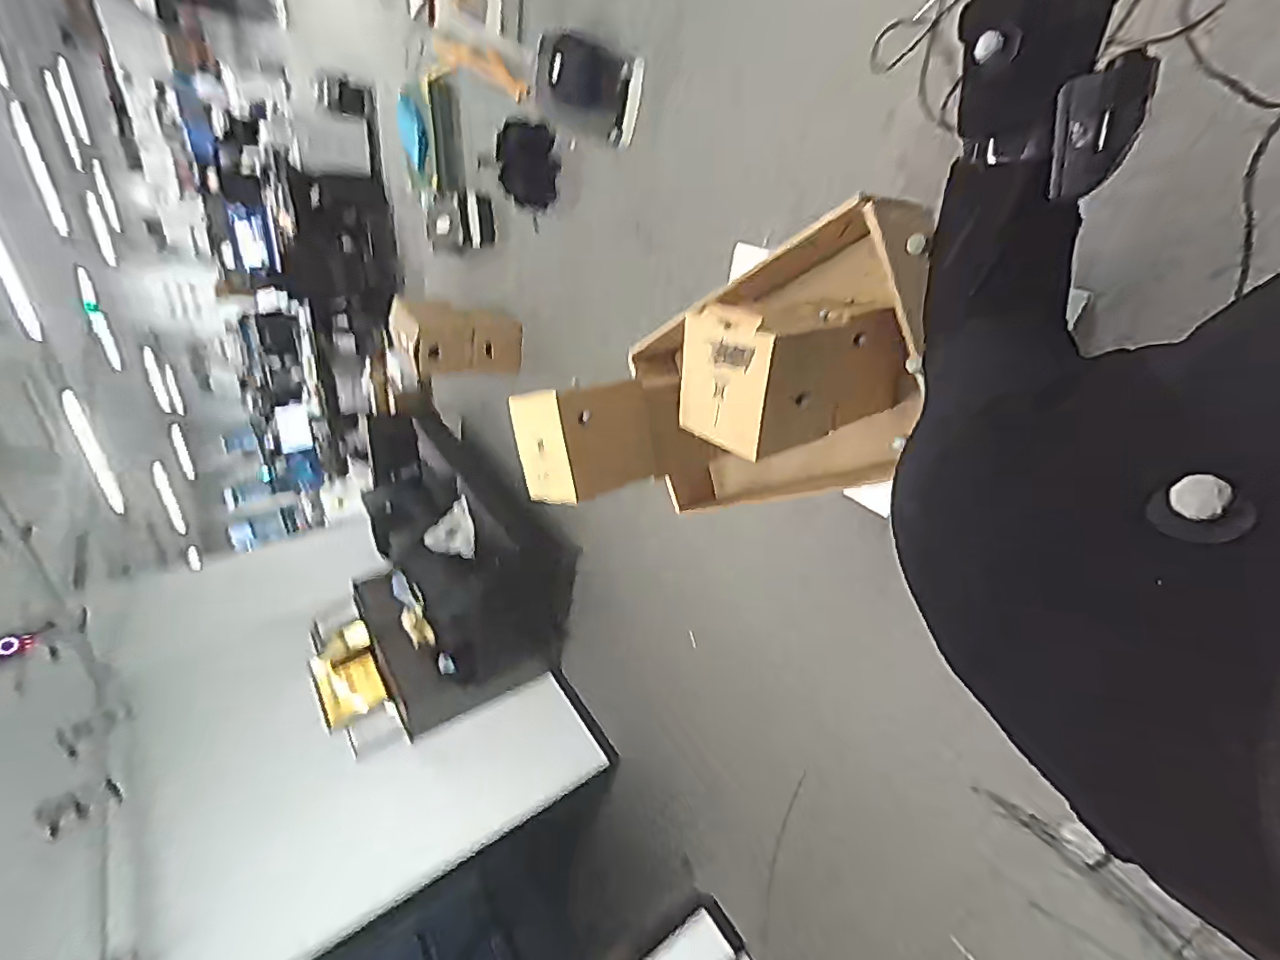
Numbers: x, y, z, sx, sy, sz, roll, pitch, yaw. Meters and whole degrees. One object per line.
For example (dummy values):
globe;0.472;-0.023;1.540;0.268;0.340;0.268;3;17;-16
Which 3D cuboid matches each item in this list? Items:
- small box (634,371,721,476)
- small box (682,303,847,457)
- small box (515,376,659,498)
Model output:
small box;0.031;-0.115;1.045;0.179;0.176;0.168;9;113;50
small box;0.183;-0.161;0.812;0.168;0.176;0.179;34;132;44
small box;-0.089;-0.080;0.936;0.168;0.176;0.179;4;109;53
